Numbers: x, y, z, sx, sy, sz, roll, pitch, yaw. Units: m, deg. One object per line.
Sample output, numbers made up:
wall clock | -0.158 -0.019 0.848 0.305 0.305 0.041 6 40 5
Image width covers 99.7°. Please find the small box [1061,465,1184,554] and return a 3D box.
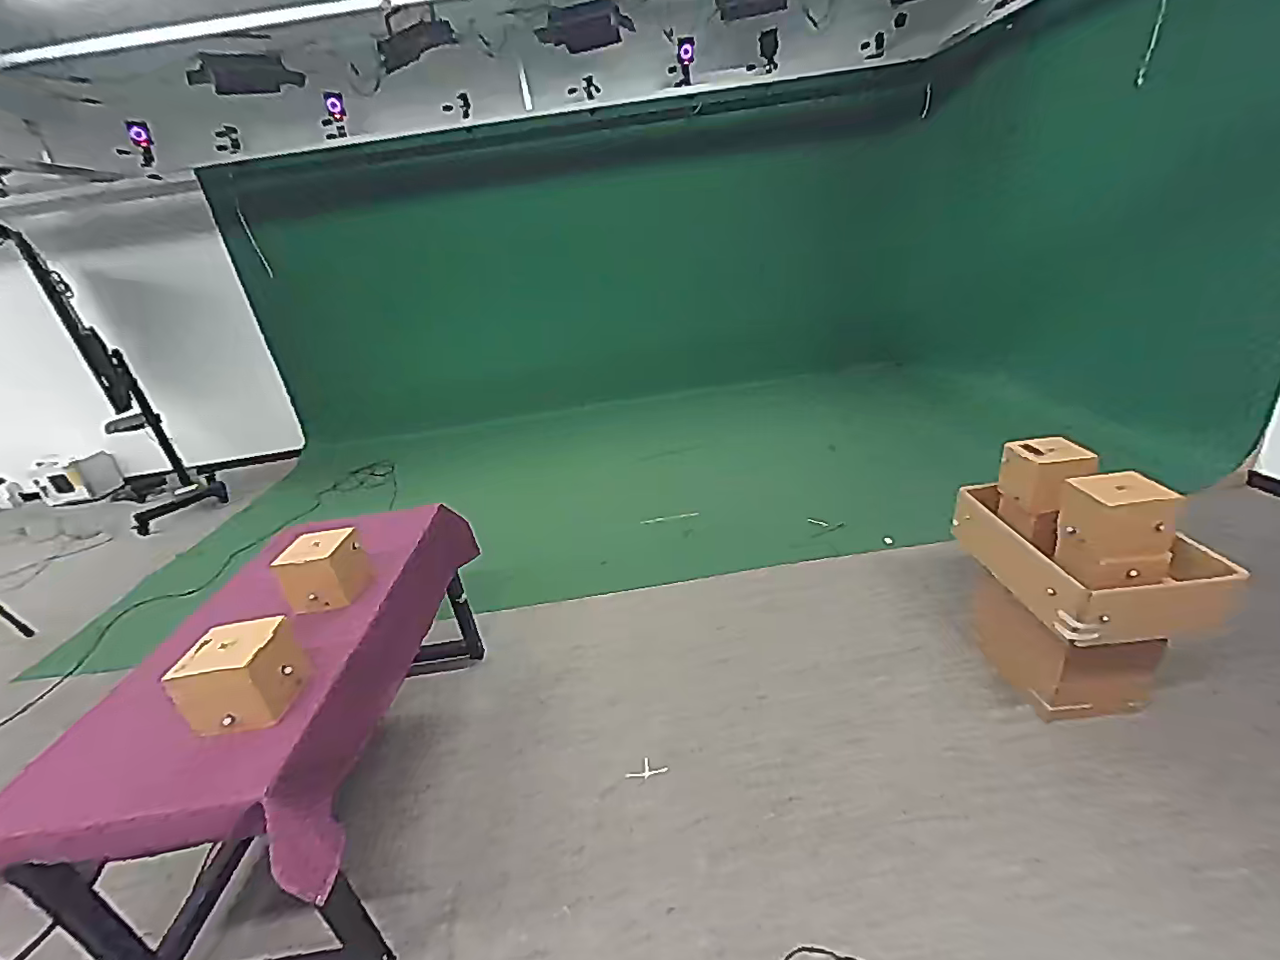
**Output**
small box | 1.265 0.079 1.434 0.179 0.176 0.168 -8 24 7

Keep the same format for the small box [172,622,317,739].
small box | -0.867 0.448 1.210 0.179 0.176 0.168 -9 24 0

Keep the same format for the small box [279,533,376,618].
small box | -0.908 0.279 1.595 0.168 0.176 0.179 -10 24 2
